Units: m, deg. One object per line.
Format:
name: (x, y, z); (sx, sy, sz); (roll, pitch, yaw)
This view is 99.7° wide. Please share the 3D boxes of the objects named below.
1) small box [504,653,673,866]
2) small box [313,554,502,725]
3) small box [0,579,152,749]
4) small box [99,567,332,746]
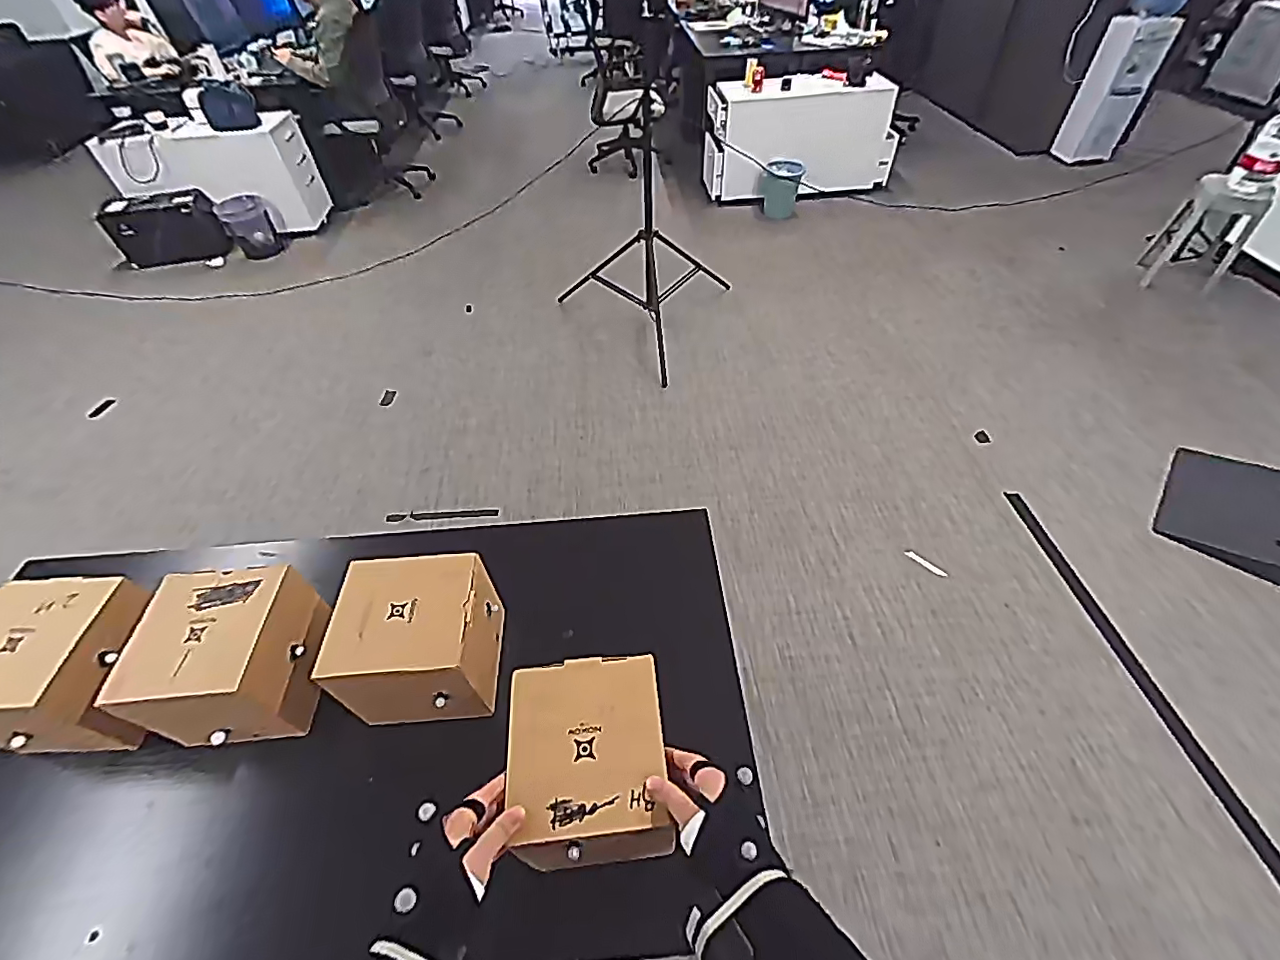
small box: (-0.054, 0.328, 0.634); (0.168, 0.176, 0.179); (-7, 48, -2)
small box: (-0.299, 0.221, 0.746); (0.179, 0.176, 0.168); (-5, 47, 0)
small box: (-0.771, 0.255, 0.737); (0.168, 0.176, 0.179); (-2, 48, 0)
small box: (-0.547, 0.241, 0.737); (0.168, 0.176, 0.179); (-5, 50, -2)
